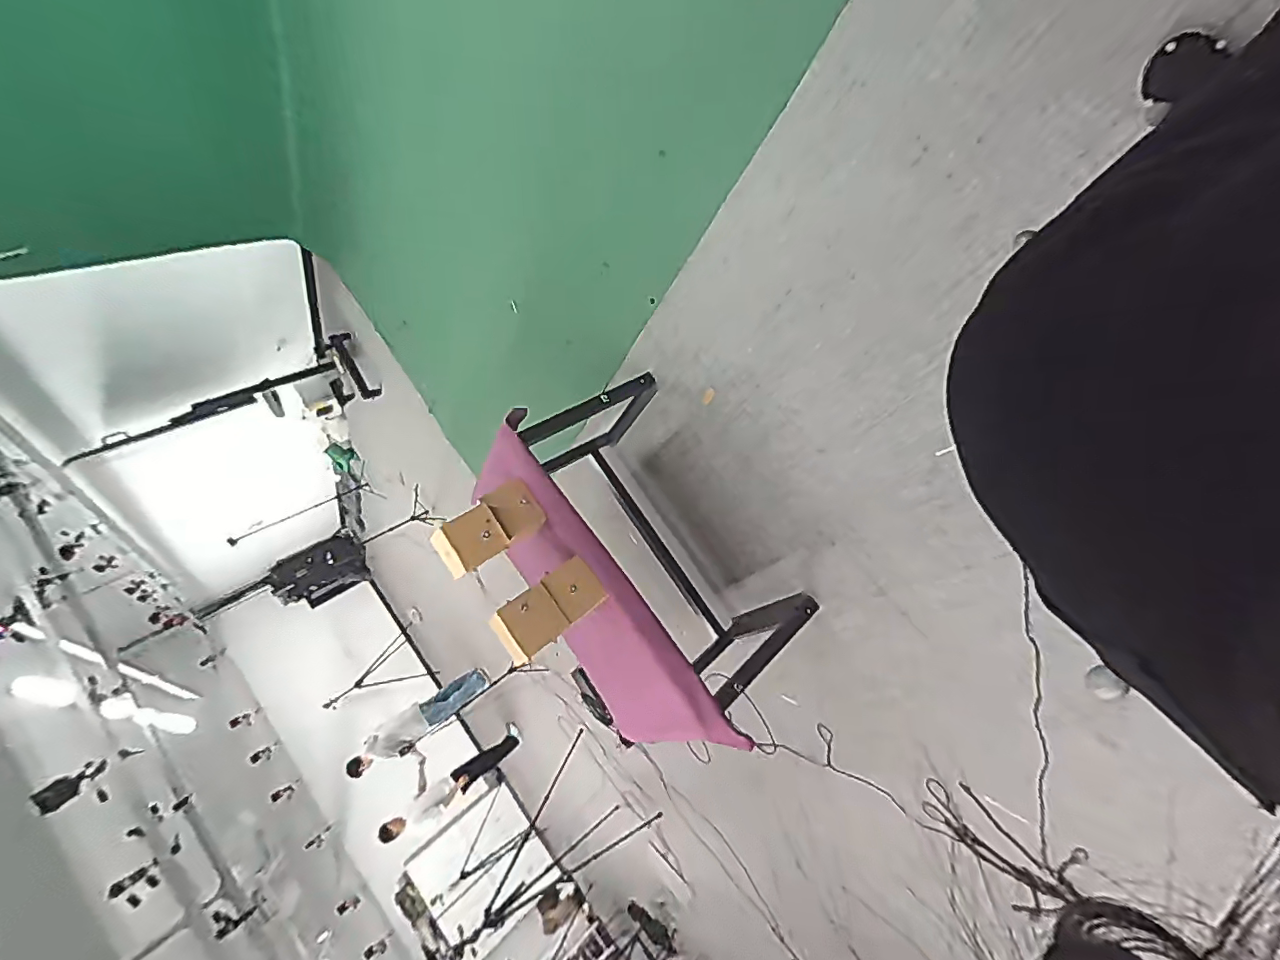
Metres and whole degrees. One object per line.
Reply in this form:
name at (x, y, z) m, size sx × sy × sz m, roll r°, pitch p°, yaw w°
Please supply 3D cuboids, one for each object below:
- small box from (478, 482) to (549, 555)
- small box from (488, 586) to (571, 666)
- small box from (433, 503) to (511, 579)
small box at (-0.444, 0.125, 1.867) m, size 0.179 × 0.176 × 0.168 m, roll 54°, pitch 146°, yaw 8°
small box at (-0.346, 0.451, 1.694) m, size 0.179 × 0.176 × 0.168 m, roll 54°, pitch 147°, yaw 7°
small box at (-0.544, 0.198, 1.758) m, size 0.168 × 0.176 × 0.179 m, roll 58°, pitch 145°, yaw 1°
